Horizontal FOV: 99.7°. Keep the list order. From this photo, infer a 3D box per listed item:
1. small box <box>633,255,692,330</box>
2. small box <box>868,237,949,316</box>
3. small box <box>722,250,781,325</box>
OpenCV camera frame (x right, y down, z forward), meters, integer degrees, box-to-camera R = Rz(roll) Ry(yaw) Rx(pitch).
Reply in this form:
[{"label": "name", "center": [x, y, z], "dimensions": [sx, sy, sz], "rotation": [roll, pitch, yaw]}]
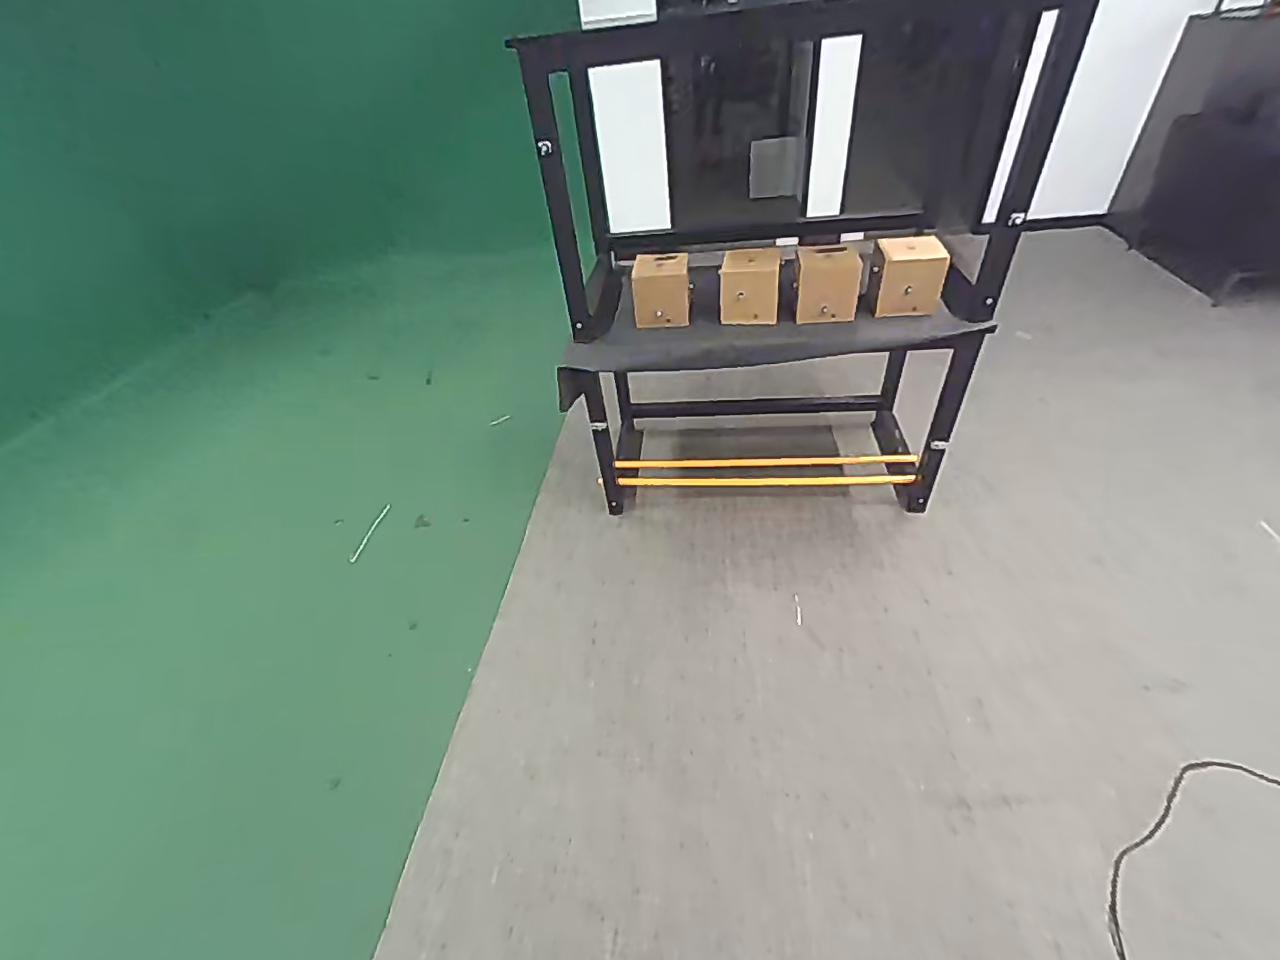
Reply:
[{"label": "small box", "center": [0.077, -0.588, 1.698], "dimensions": [0.168, 0.176, 0.179], "rotation": [-1, 42, 8]}, {"label": "small box", "center": [0.778, -0.592, 1.584], "dimensions": [0.168, 0.176, 0.179], "rotation": [1, 41, 11]}, {"label": "small box", "center": [0.343, -0.584, 1.653], "dimensions": [0.168, 0.176, 0.179], "rotation": [3, 42, 13]}]
